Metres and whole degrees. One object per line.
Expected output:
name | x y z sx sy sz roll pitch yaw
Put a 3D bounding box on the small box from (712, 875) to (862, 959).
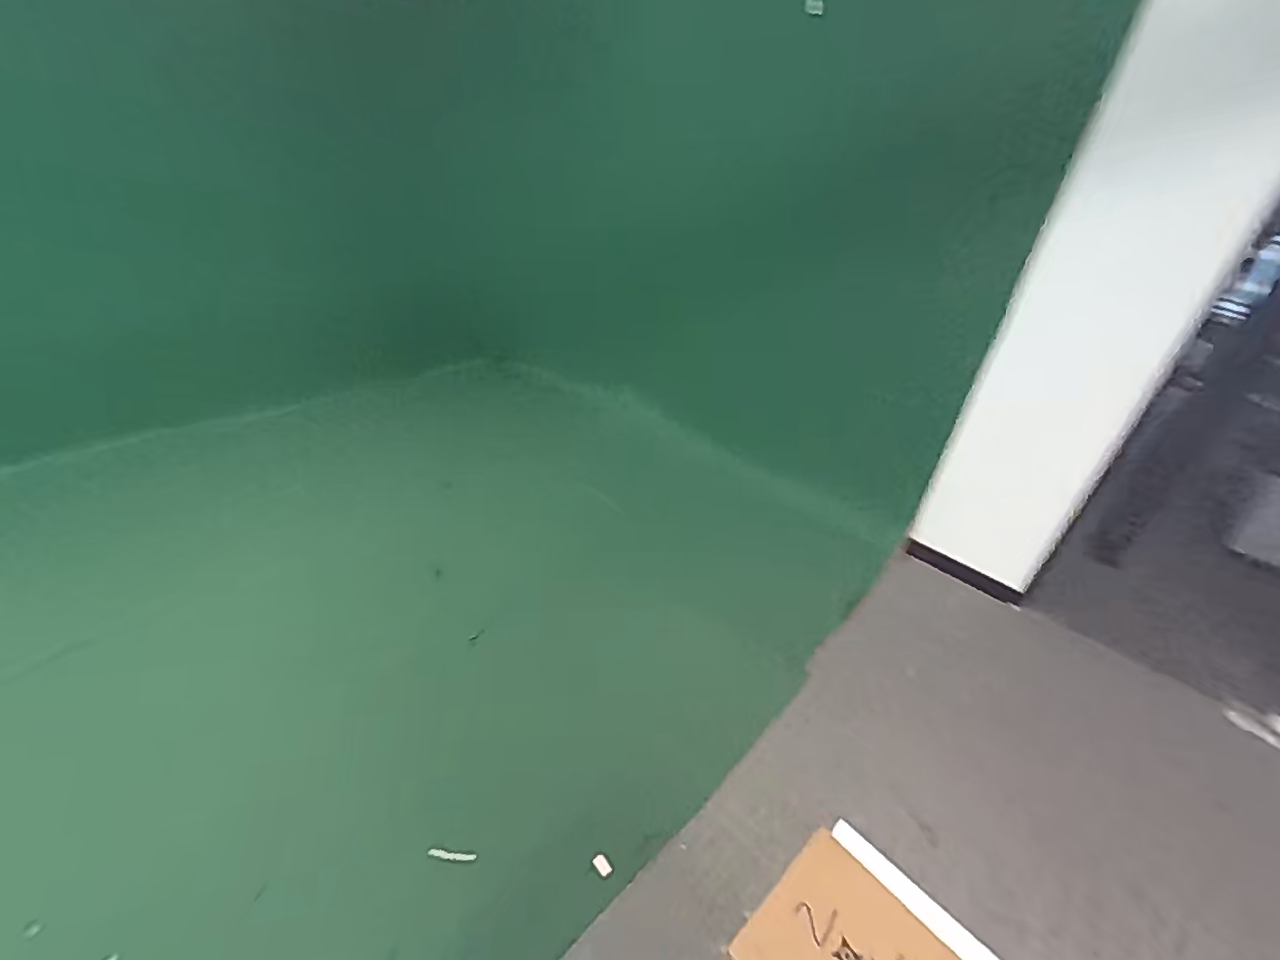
small box | 0.175 0.643 0.649 0.168 0.176 0.179 -24 45 -36
